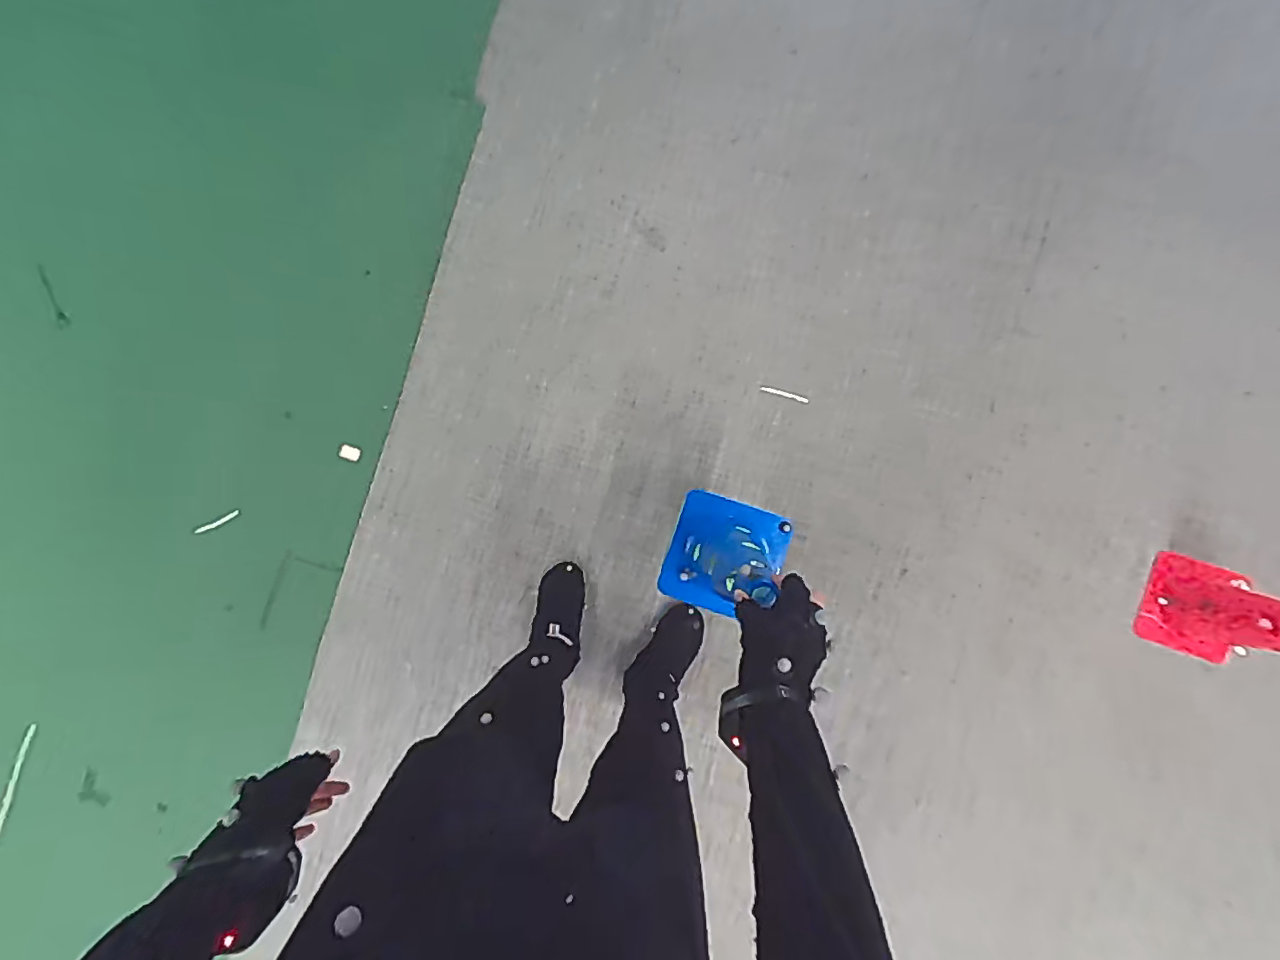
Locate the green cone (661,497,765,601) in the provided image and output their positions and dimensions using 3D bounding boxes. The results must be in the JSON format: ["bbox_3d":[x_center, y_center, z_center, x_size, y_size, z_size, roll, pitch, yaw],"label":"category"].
[{"bbox_3d":[0.158,0.154,1.049,0.202,0.368,0.200,17,90,3],"label":"green cone"}]
